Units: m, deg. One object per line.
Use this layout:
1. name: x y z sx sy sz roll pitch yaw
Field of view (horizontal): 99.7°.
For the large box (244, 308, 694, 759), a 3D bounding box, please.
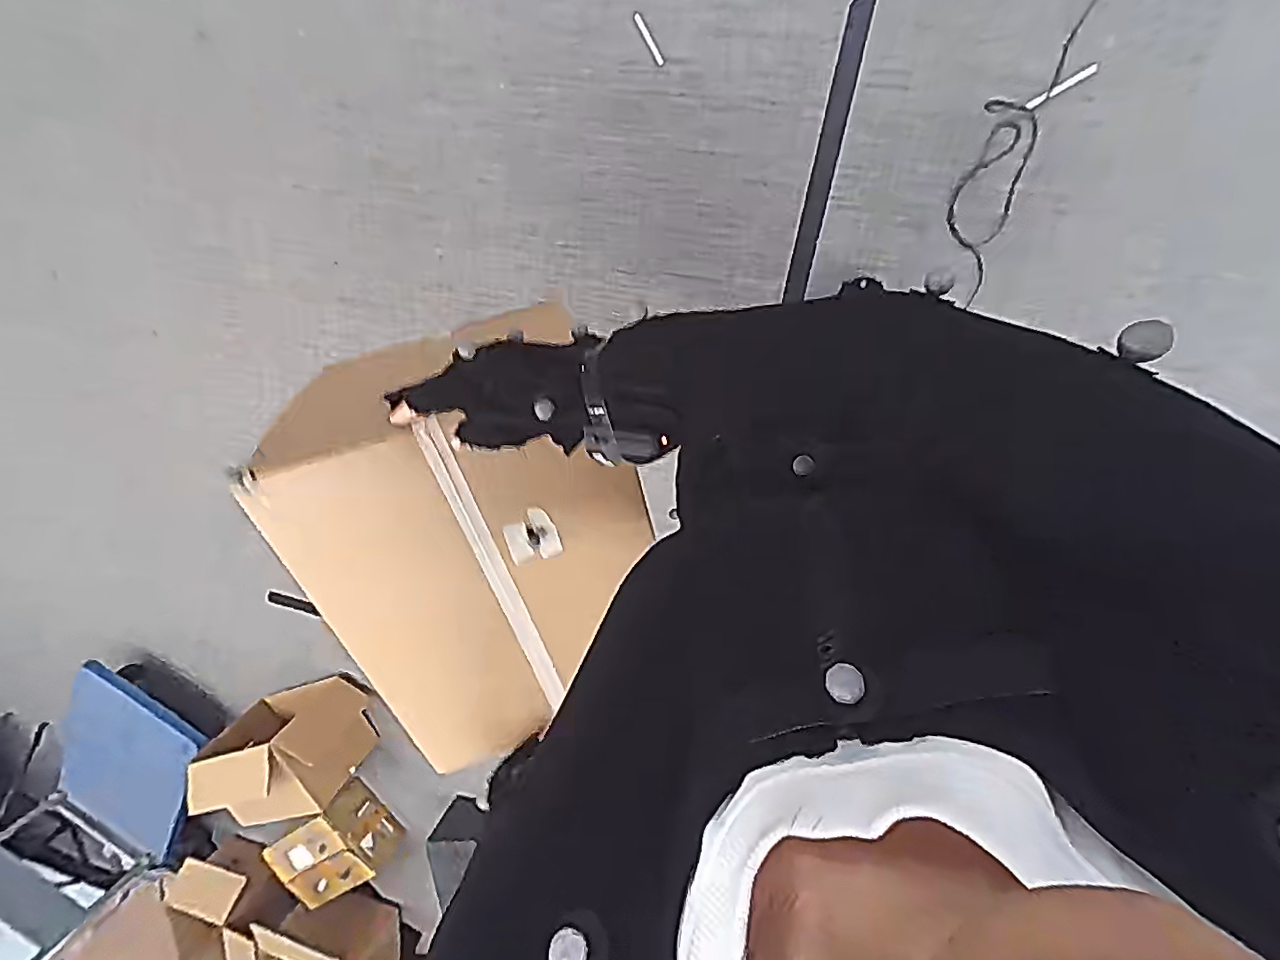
1. large box: -0.164 0.046 0.673 0.320 0.320 0.408 -21 119 -7
